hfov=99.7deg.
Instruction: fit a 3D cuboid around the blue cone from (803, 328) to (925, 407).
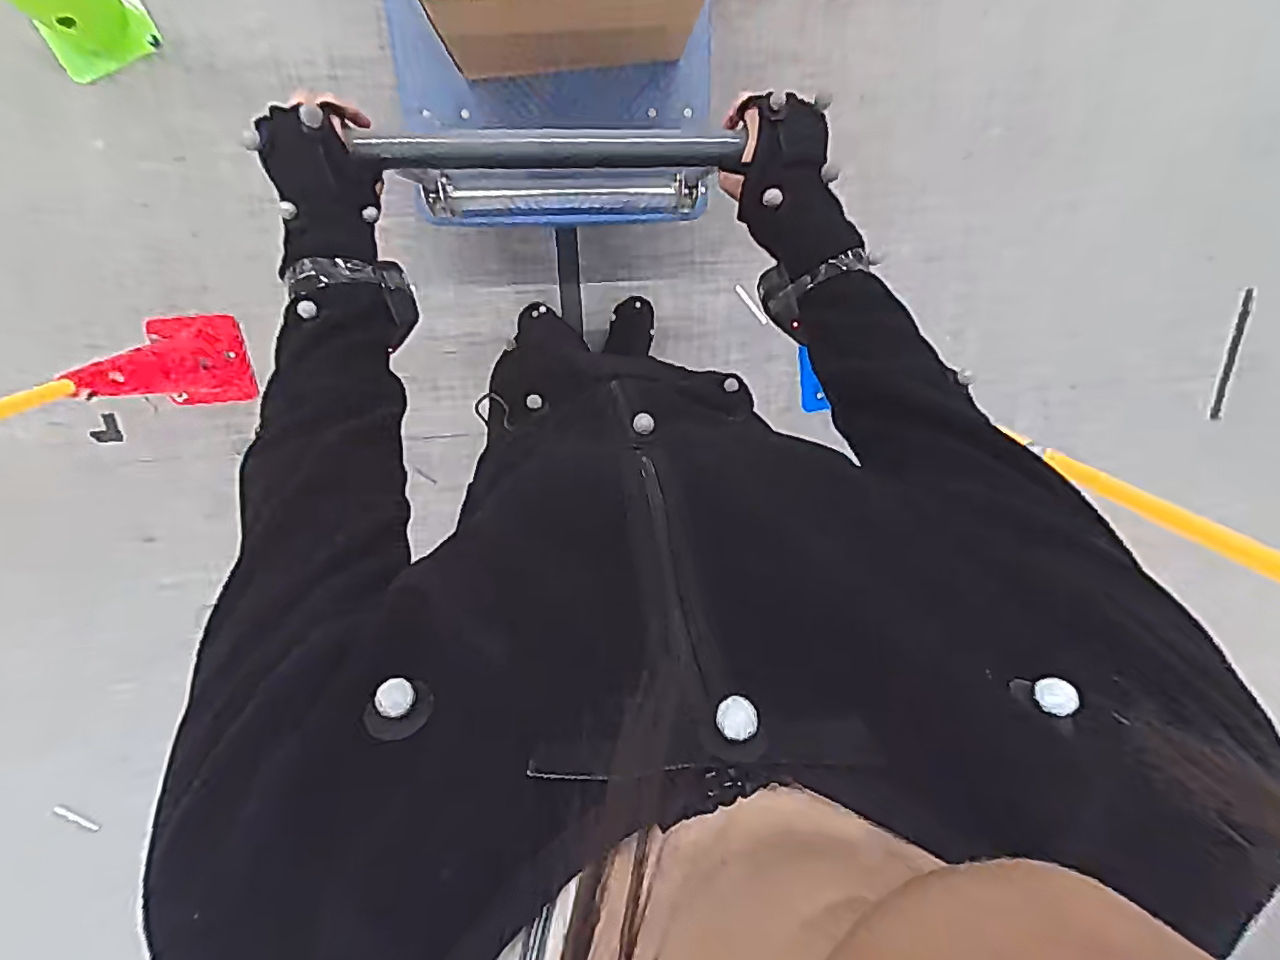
[{"bbox_3d":[0.537,-0.241,1.258,0.193,0.380,0.192,-8,108,-4],"label":"blue cone"}]
